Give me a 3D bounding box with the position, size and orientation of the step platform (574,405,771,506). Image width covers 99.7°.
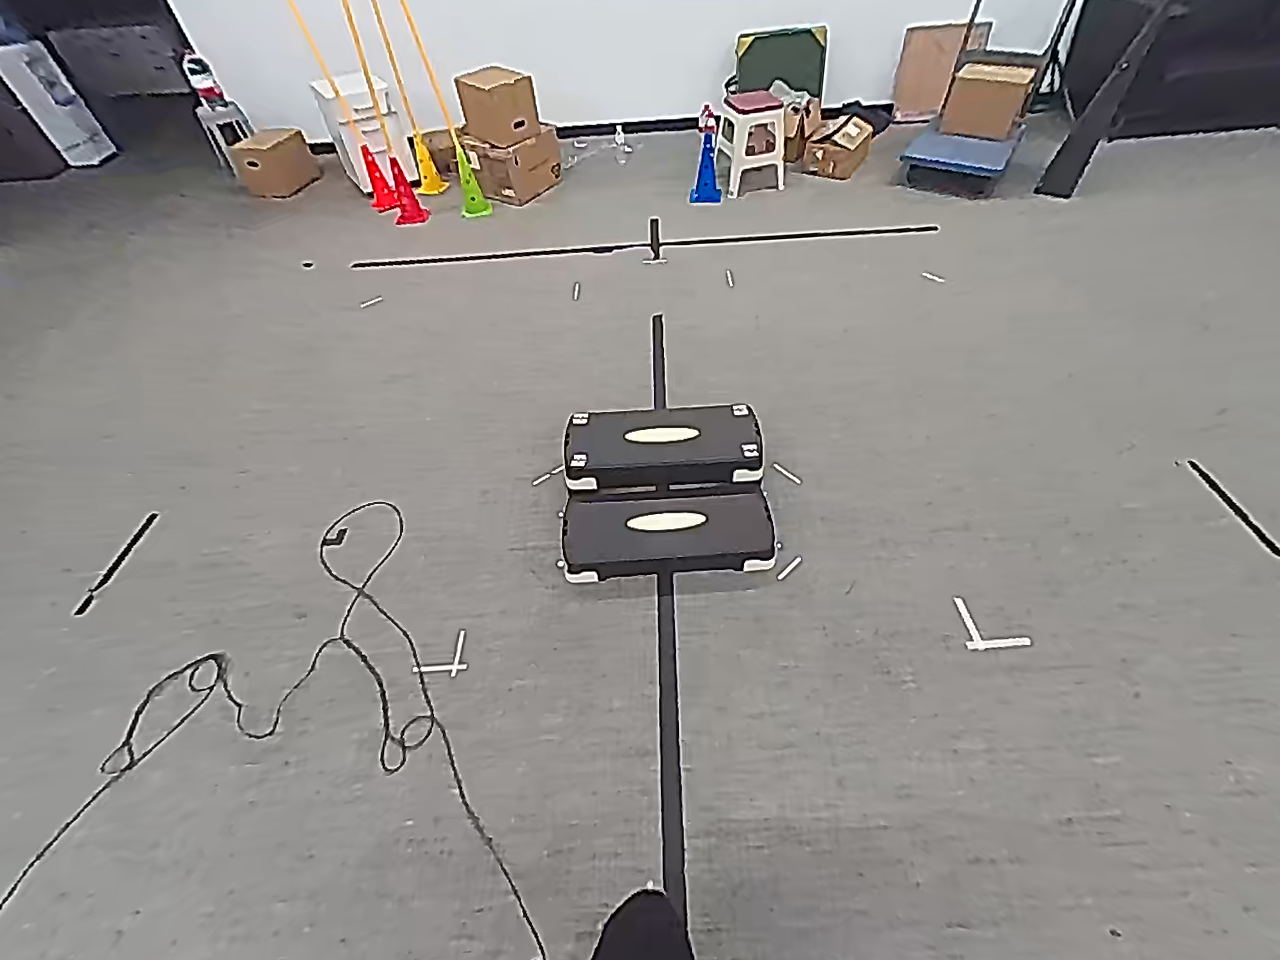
[{"bbox_3d":[0.110,-0.093,1.903,0.684,0.204,0.286,-3,49,0],"label":"step platform"}]
